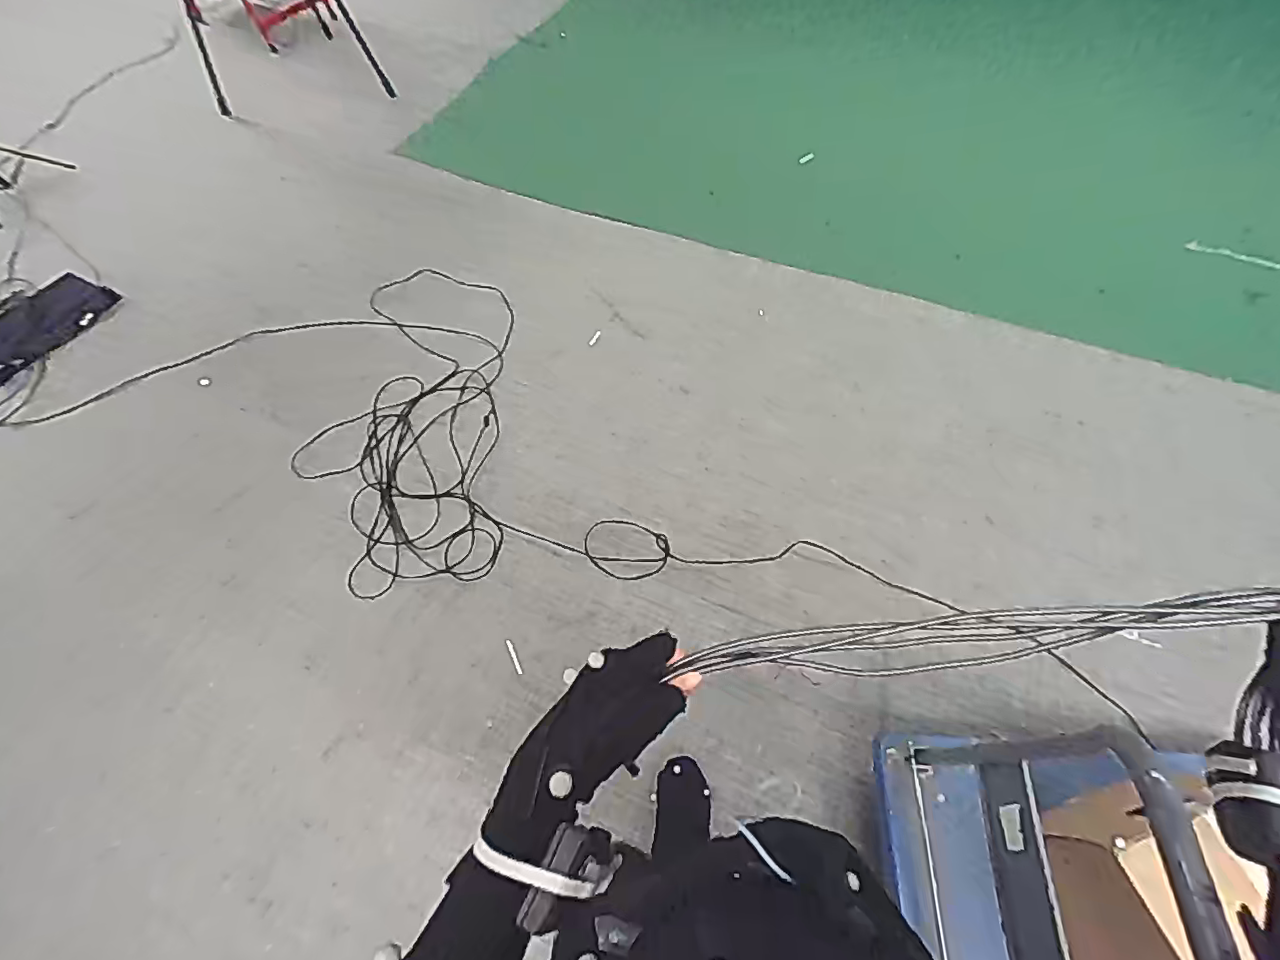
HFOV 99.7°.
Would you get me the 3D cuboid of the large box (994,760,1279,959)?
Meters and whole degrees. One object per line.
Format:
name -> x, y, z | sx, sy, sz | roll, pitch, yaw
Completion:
large box -> 0.877, 0.706, 0.842 | 0.320, 0.320, 0.408 | -17, 61, -8
